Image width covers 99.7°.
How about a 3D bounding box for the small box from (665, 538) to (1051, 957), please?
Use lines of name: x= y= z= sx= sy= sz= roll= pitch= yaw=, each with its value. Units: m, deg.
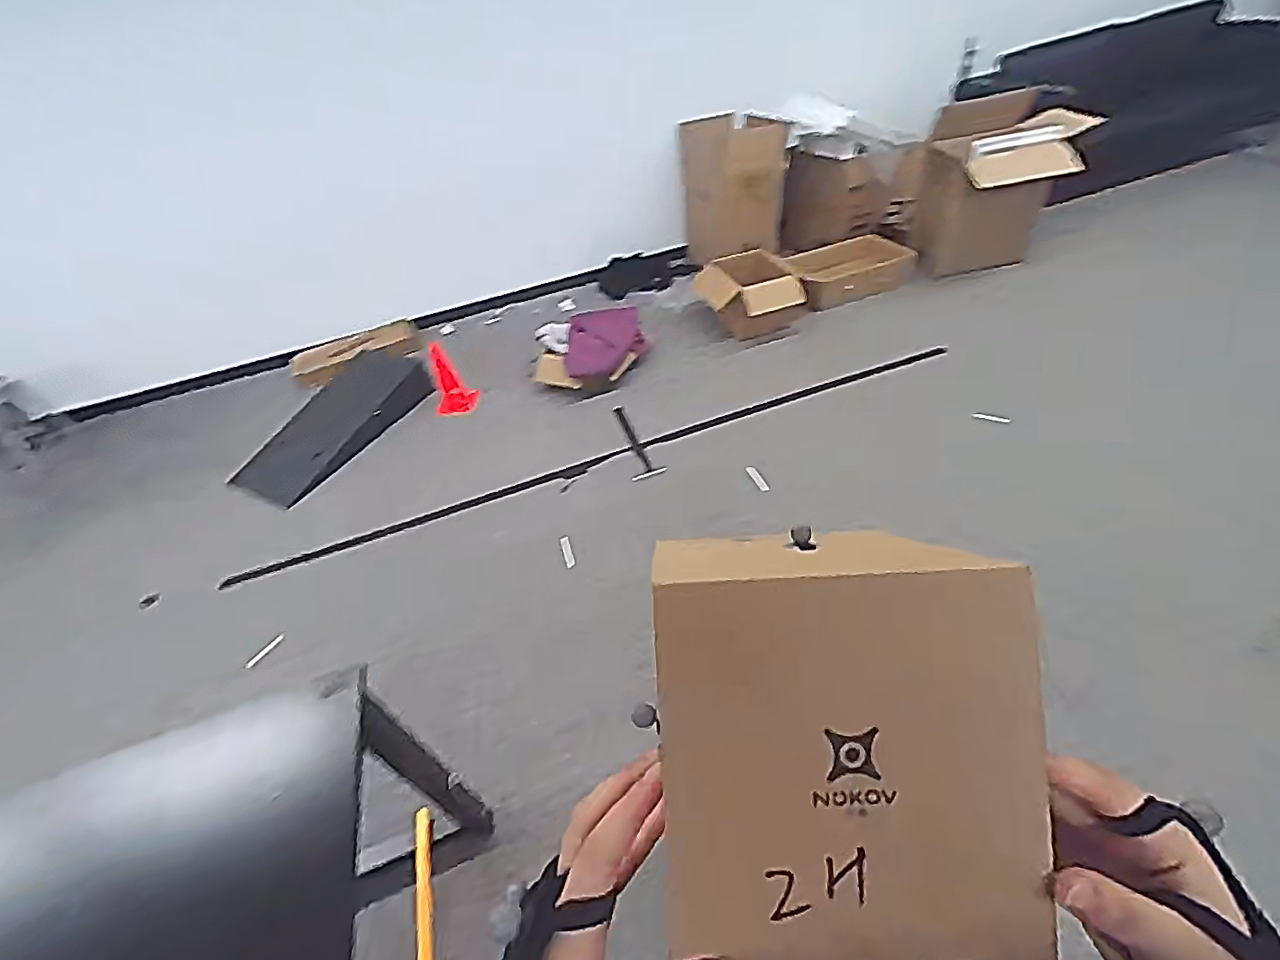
small box: x=0.099 y=0.126 z=0.322 sx=0.168 sy=0.179 sz=0.176 roll=-3 pitch=-1 yaw=4
